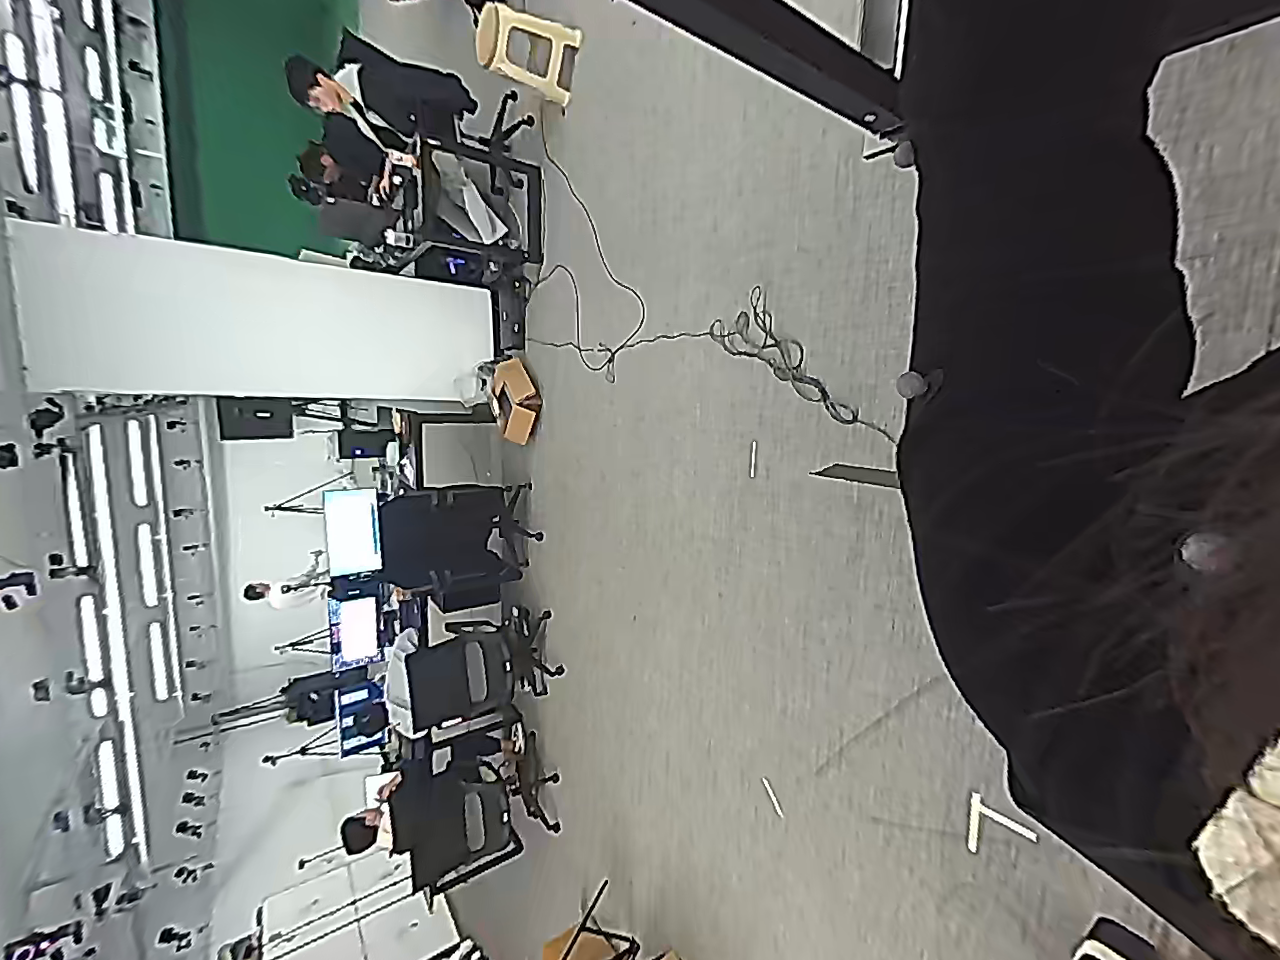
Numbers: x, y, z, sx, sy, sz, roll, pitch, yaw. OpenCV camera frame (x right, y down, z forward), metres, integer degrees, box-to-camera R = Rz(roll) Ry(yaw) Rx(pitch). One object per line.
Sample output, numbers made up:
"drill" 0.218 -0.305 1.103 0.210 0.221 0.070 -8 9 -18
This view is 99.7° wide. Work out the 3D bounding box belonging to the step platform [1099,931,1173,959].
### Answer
"step platform" 1.188 1.223 0.943 0.684 0.204 0.286 23 112 51
